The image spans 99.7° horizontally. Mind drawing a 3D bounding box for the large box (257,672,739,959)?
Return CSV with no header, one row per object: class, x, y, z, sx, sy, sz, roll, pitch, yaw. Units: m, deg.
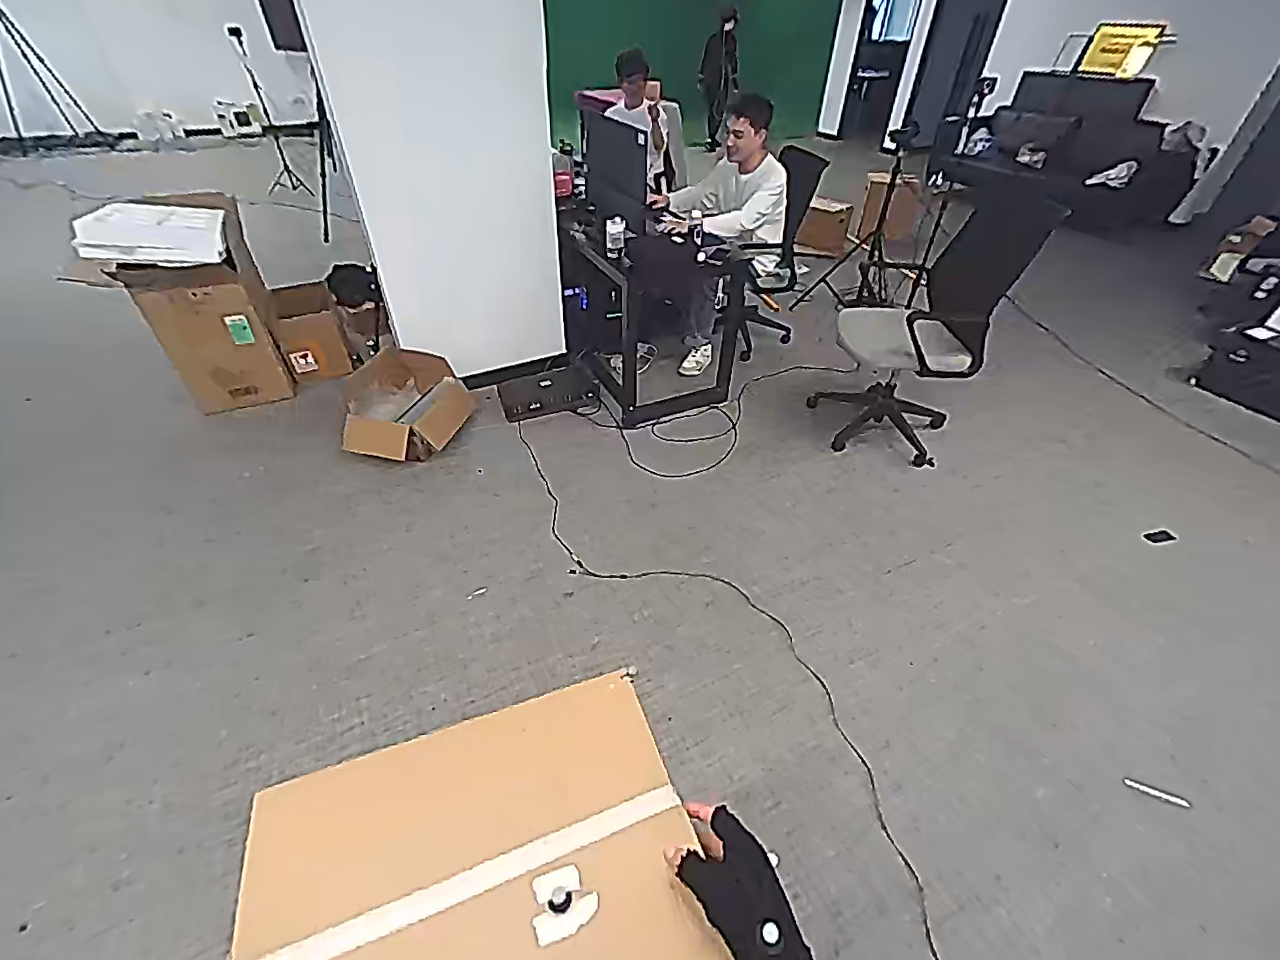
large box,-0.153,0.493,0.617,0.408,0.320,0.320,-13,42,-17
